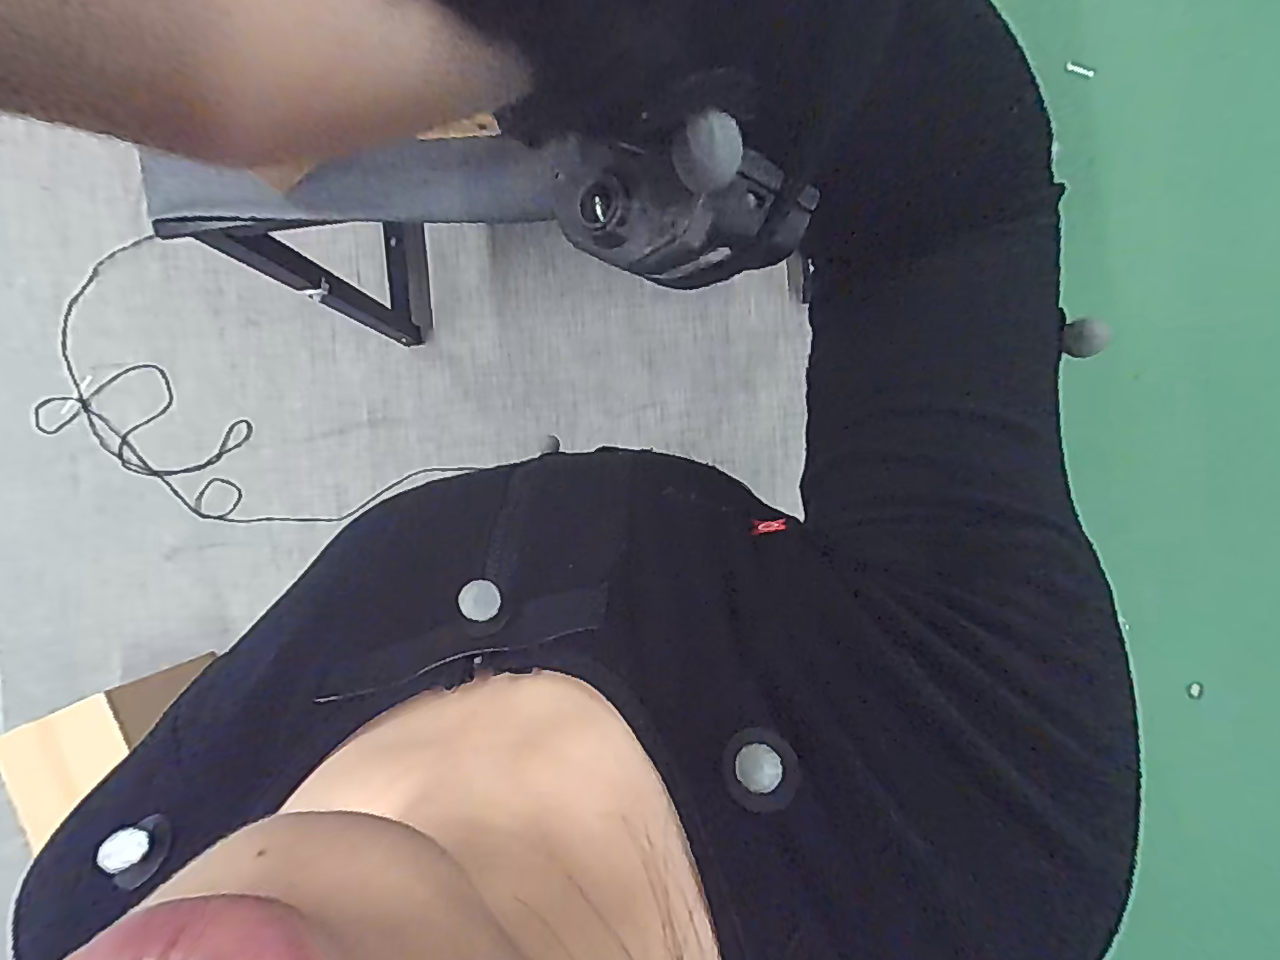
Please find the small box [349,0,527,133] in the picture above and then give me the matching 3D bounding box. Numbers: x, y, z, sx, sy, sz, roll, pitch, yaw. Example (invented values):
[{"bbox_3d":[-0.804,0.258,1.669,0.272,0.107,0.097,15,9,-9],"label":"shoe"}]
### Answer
[{"bbox_3d":[-0.249,-0.591,0.700,0.168,0.176,0.179,-1,89,4],"label":"small box"}]
